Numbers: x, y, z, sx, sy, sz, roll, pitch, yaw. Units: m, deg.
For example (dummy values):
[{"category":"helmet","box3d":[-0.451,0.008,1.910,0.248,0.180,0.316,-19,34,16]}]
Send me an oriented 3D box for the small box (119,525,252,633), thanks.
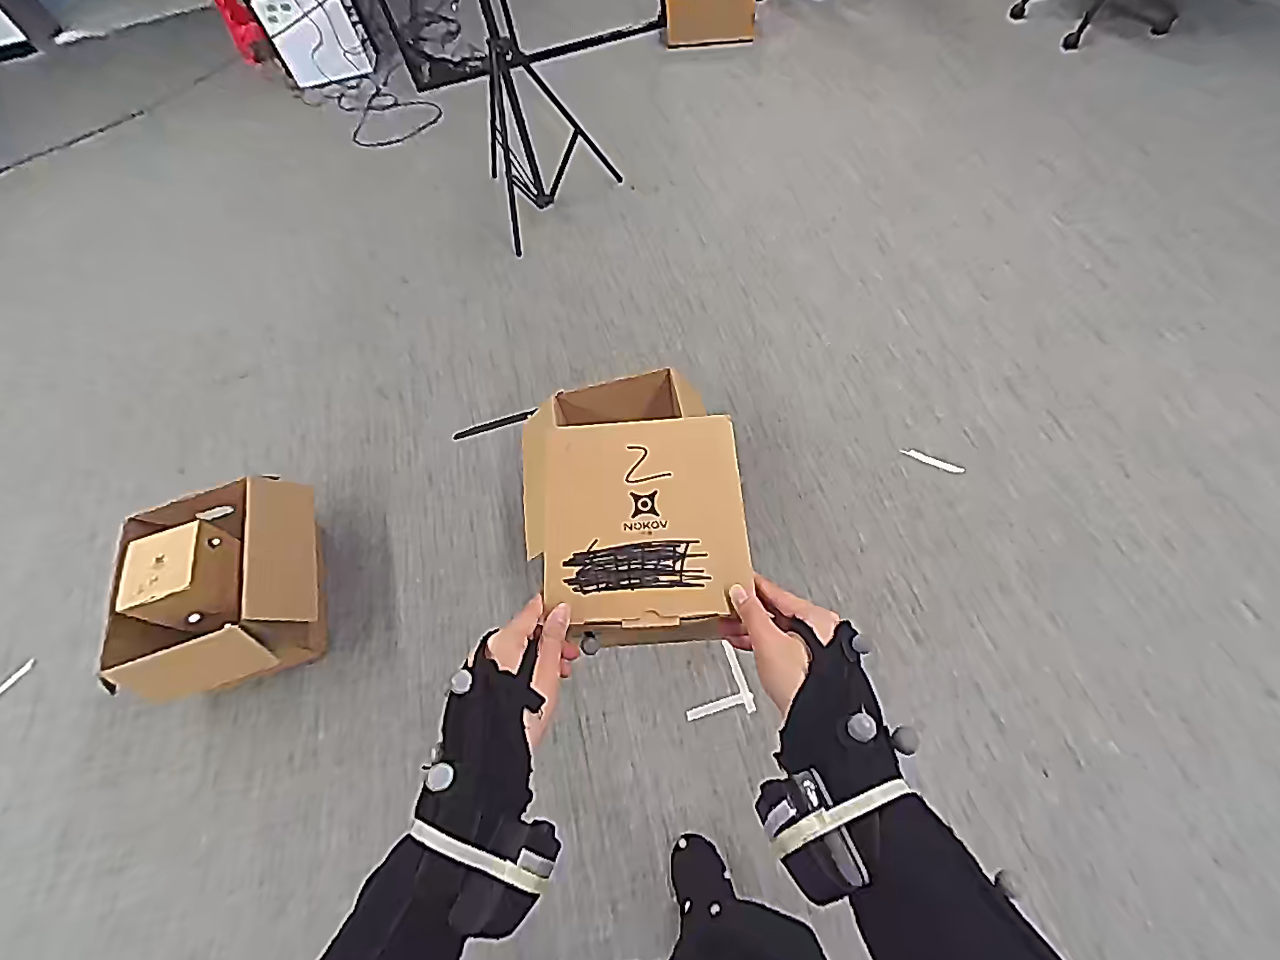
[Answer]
[{"category":"small box","box3d":[-1.061,0.238,1.280,0.168,0.176,0.179,-19,59,-2]}]
